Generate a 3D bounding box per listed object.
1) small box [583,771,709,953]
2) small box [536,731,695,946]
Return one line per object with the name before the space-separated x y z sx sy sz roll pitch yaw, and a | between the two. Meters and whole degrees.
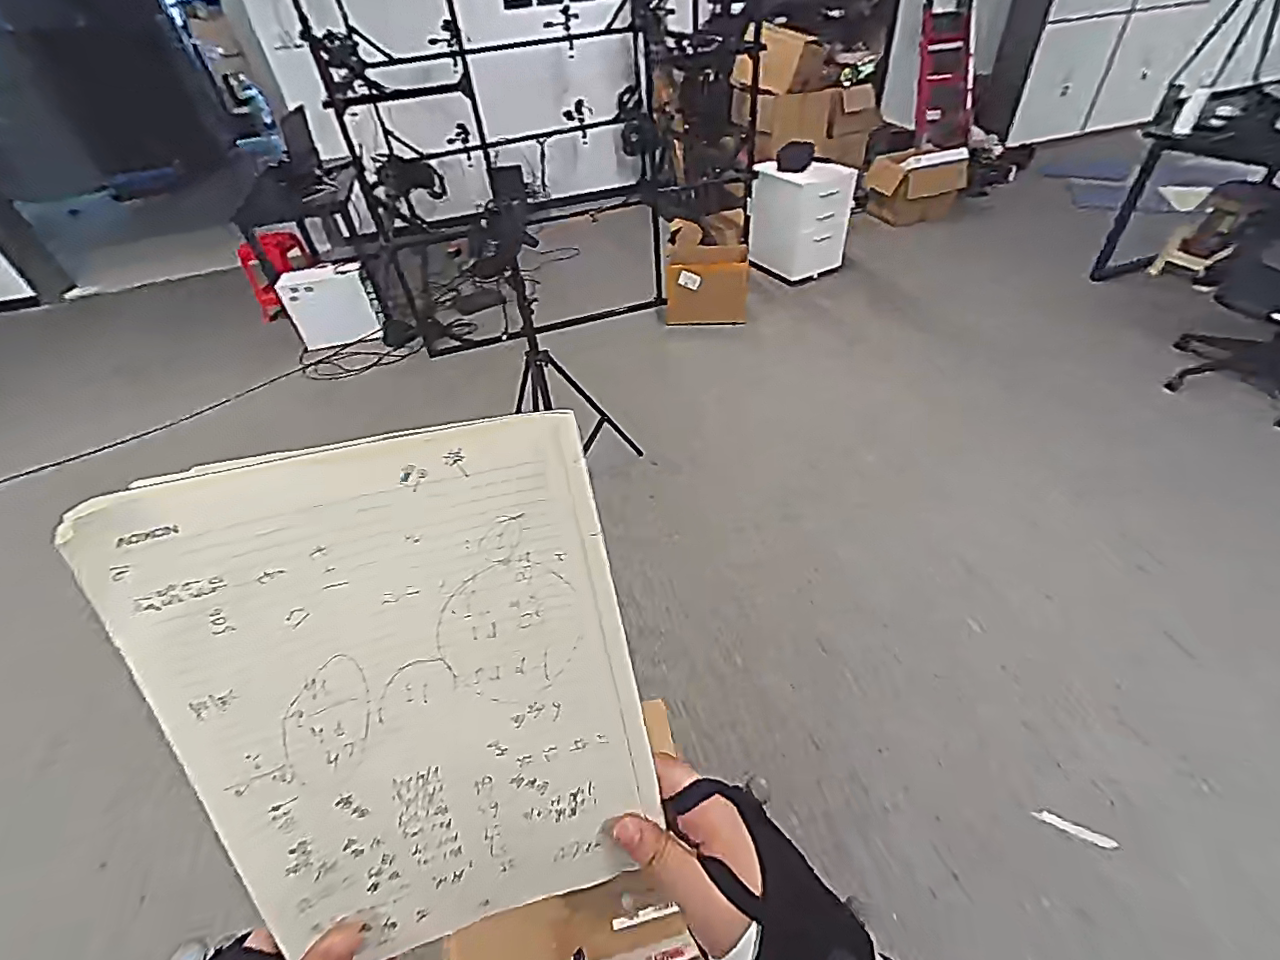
small box | -0.011 0.567 0.804 0.179 0.176 0.168 -13 44 -9
small box | -0.035 0.453 0.686 0.168 0.176 0.179 -9 45 -7
